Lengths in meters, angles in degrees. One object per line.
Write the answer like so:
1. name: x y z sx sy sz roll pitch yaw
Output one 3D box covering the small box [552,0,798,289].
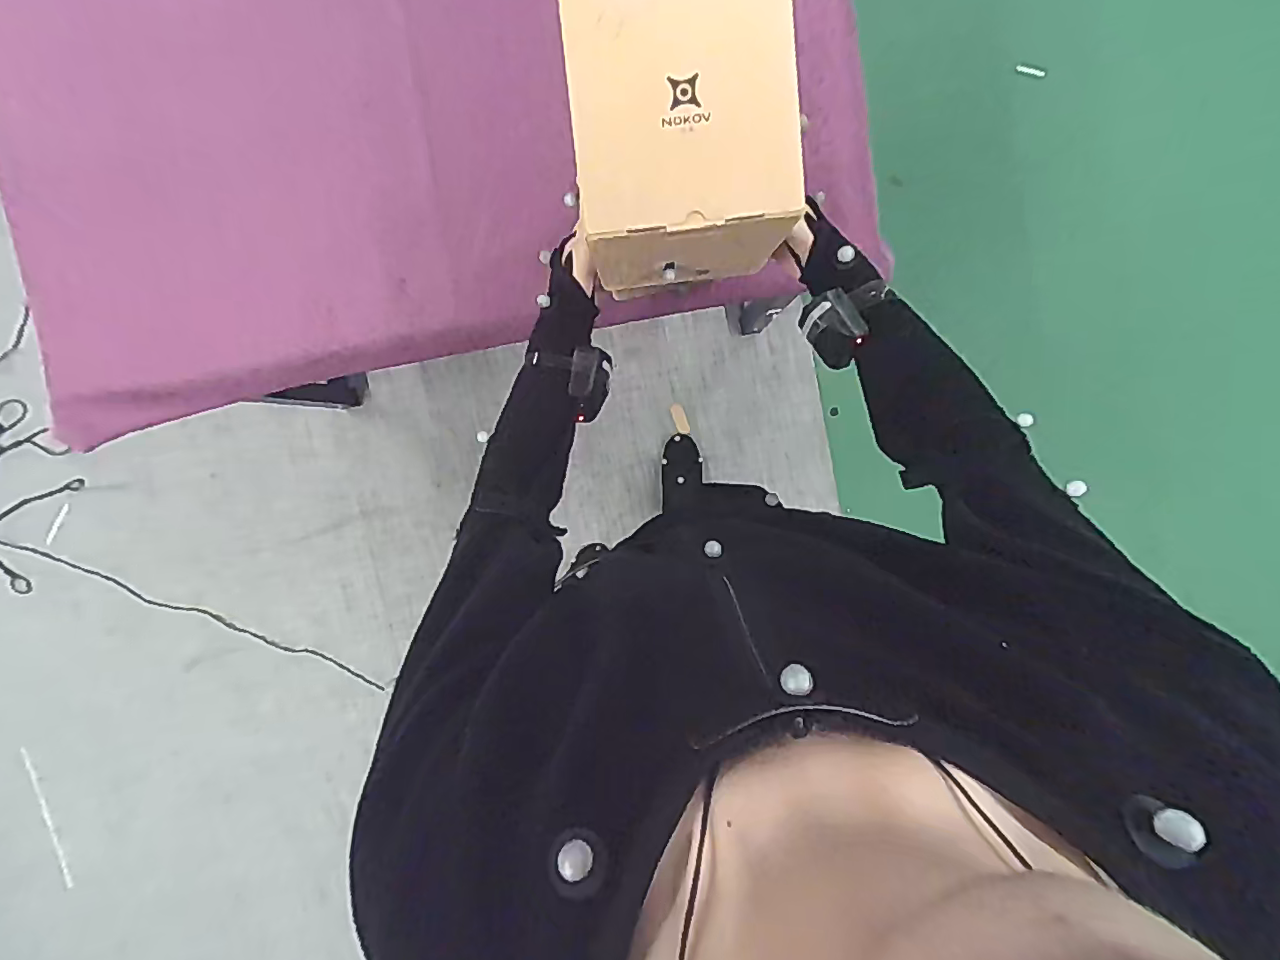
1. small box: 0.025 -0.279 0.461 0.168 0.176 0.179 -6 97 1
